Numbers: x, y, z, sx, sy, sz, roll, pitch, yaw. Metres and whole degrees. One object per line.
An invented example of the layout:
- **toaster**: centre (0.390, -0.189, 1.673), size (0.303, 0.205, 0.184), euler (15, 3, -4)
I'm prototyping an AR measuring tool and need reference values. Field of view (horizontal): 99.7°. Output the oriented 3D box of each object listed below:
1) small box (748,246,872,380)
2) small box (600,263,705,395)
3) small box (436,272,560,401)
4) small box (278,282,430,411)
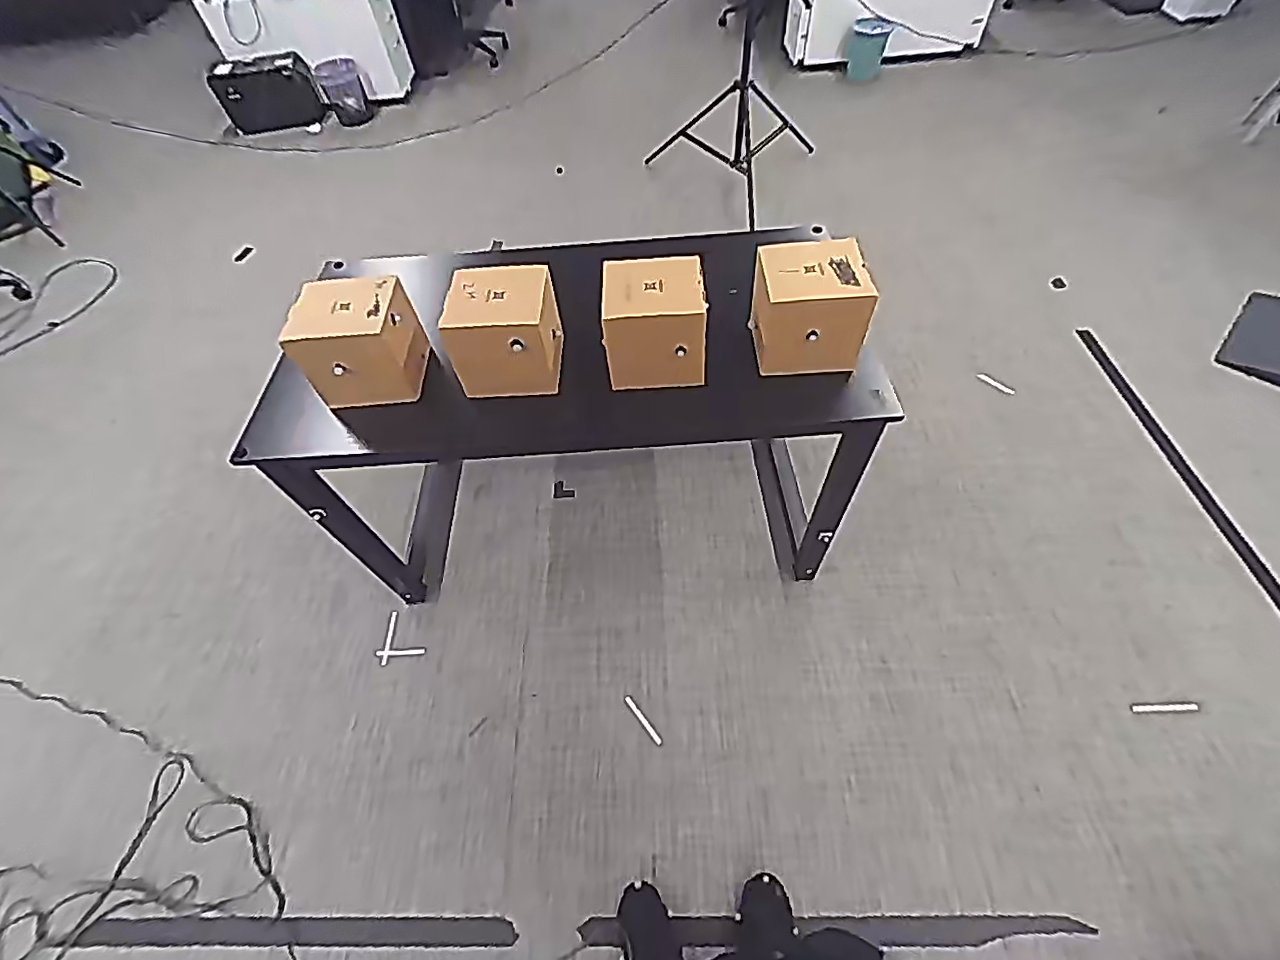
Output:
- **small box**: centre (0.300, -0.302, 0.993), size (0.179, 0.176, 0.168), euler (-3, 54, 4)
- **small box**: centre (0.022, -0.274, 0.998), size (0.179, 0.176, 0.168), euler (-4, 53, 1)
- **small box**: centre (-0.251, -0.263, 1.009), size (0.179, 0.176, 0.168), euler (-3, 54, 3)
- **small box**: centre (-0.524, -0.246, 1.018), size (0.179, 0.176, 0.168), euler (-5, 55, 1)
